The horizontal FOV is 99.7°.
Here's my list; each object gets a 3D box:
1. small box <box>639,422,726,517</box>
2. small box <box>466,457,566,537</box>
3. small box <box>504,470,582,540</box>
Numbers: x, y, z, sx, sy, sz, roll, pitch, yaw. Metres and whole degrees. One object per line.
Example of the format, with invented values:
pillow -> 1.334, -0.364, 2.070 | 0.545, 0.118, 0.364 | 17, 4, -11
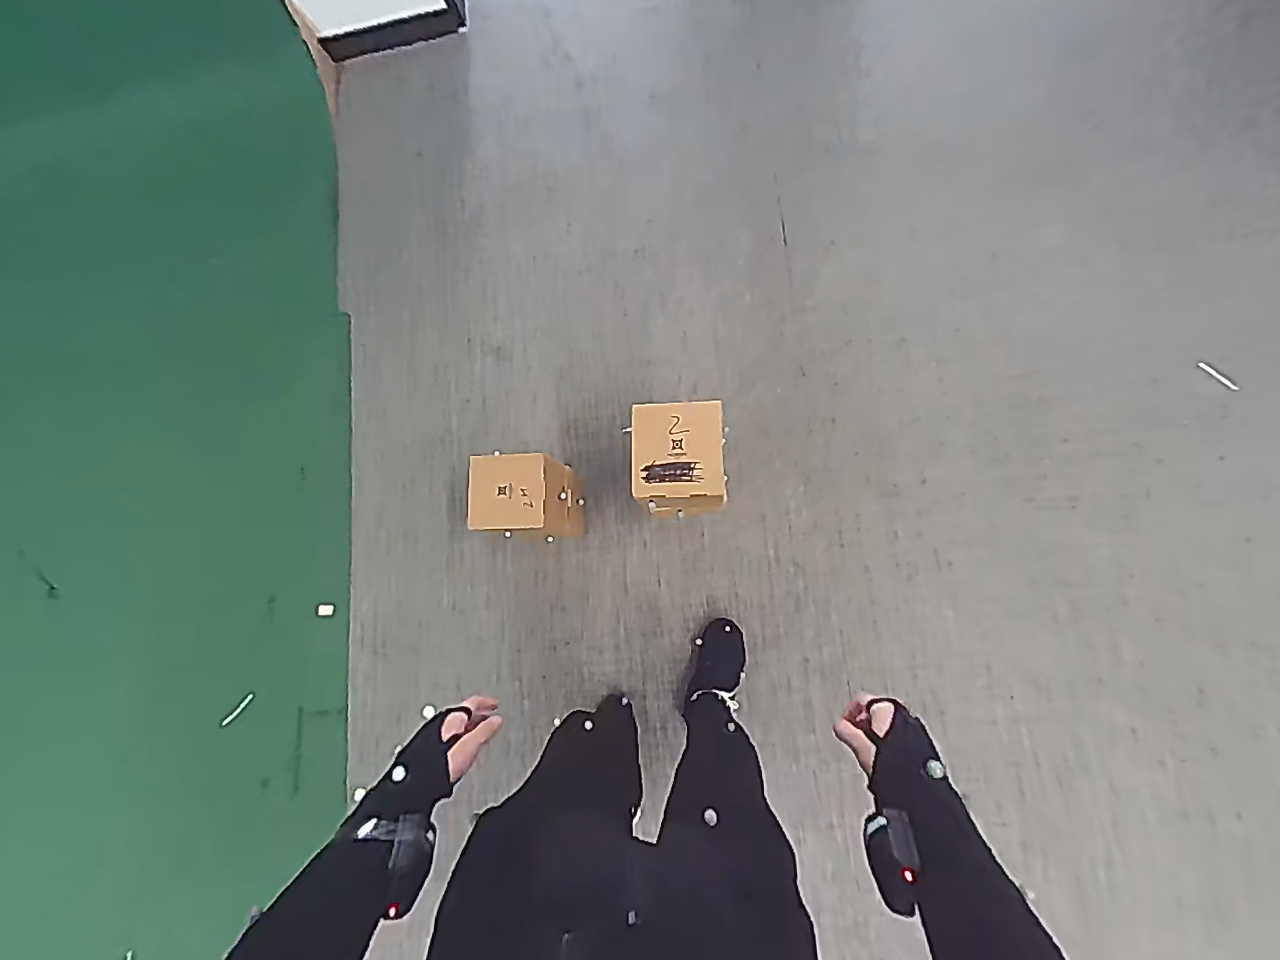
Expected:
small box -> 0.099, -0.014, 1.208 | 0.168, 0.176, 0.179 | -9, 79, 7
small box -> -0.281, 0.044, 1.252 | 0.179, 0.176, 0.168 | -2, 81, 7
small box -> -0.249, 0.069, 1.413 | 0.179, 0.176, 0.168 | -3, 80, 7
